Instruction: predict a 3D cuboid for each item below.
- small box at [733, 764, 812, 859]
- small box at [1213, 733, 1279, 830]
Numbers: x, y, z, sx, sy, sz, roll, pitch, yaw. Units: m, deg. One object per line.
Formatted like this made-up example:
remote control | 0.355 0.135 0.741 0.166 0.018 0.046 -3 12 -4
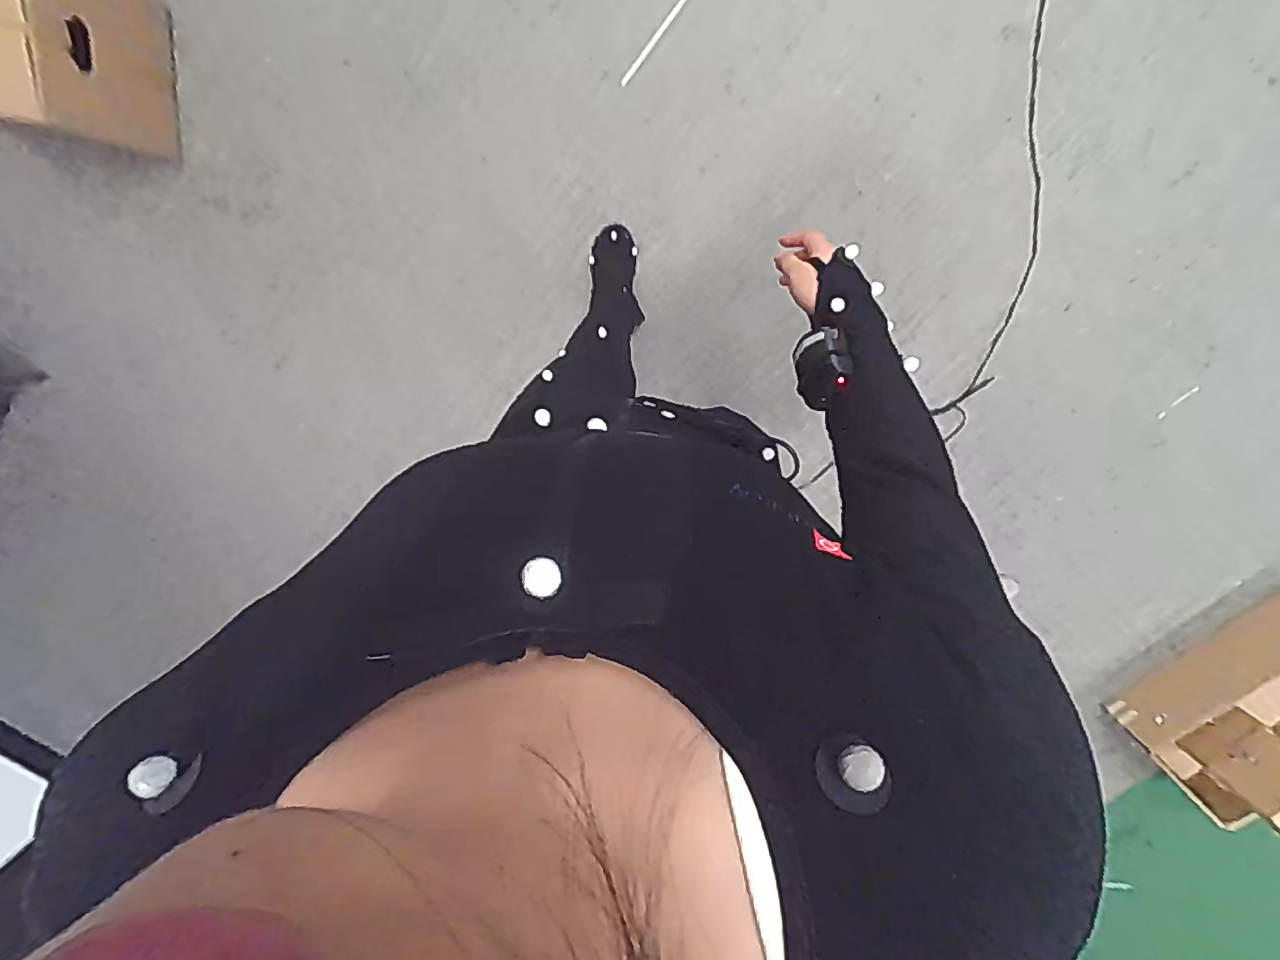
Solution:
small box | 0.417 1.057 1.737 0.179 0.176 0.168 -35 103 12
small box | 1.631 0.780 1.357 0.179 0.176 0.168 42 104 -9
